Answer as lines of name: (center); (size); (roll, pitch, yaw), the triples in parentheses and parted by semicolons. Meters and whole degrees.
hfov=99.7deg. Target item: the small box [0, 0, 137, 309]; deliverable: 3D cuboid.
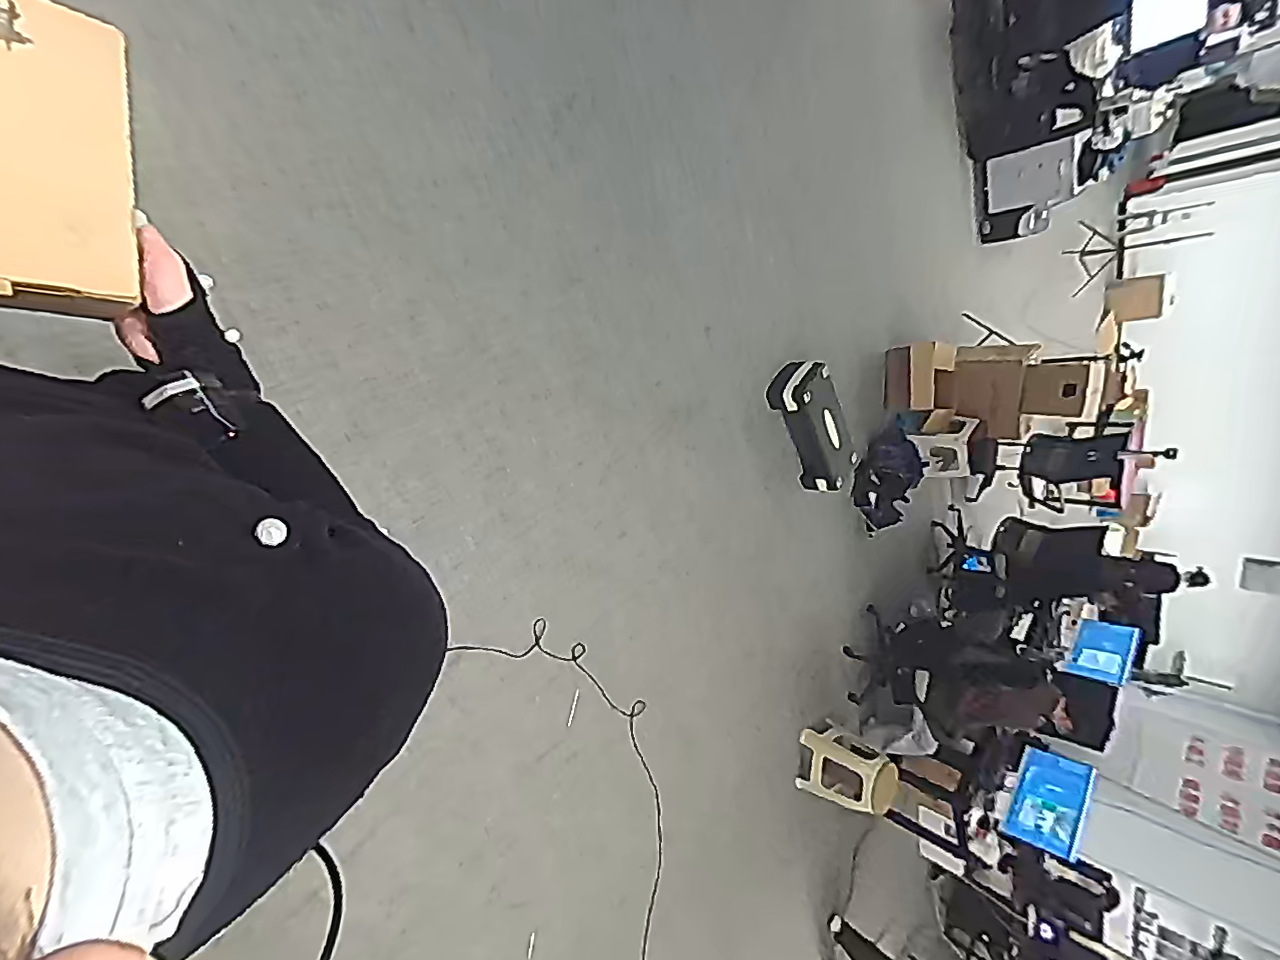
small box: (-0.449, -0.214, 0.348); (0.168, 0.176, 0.179); (-6, 102, -49)
